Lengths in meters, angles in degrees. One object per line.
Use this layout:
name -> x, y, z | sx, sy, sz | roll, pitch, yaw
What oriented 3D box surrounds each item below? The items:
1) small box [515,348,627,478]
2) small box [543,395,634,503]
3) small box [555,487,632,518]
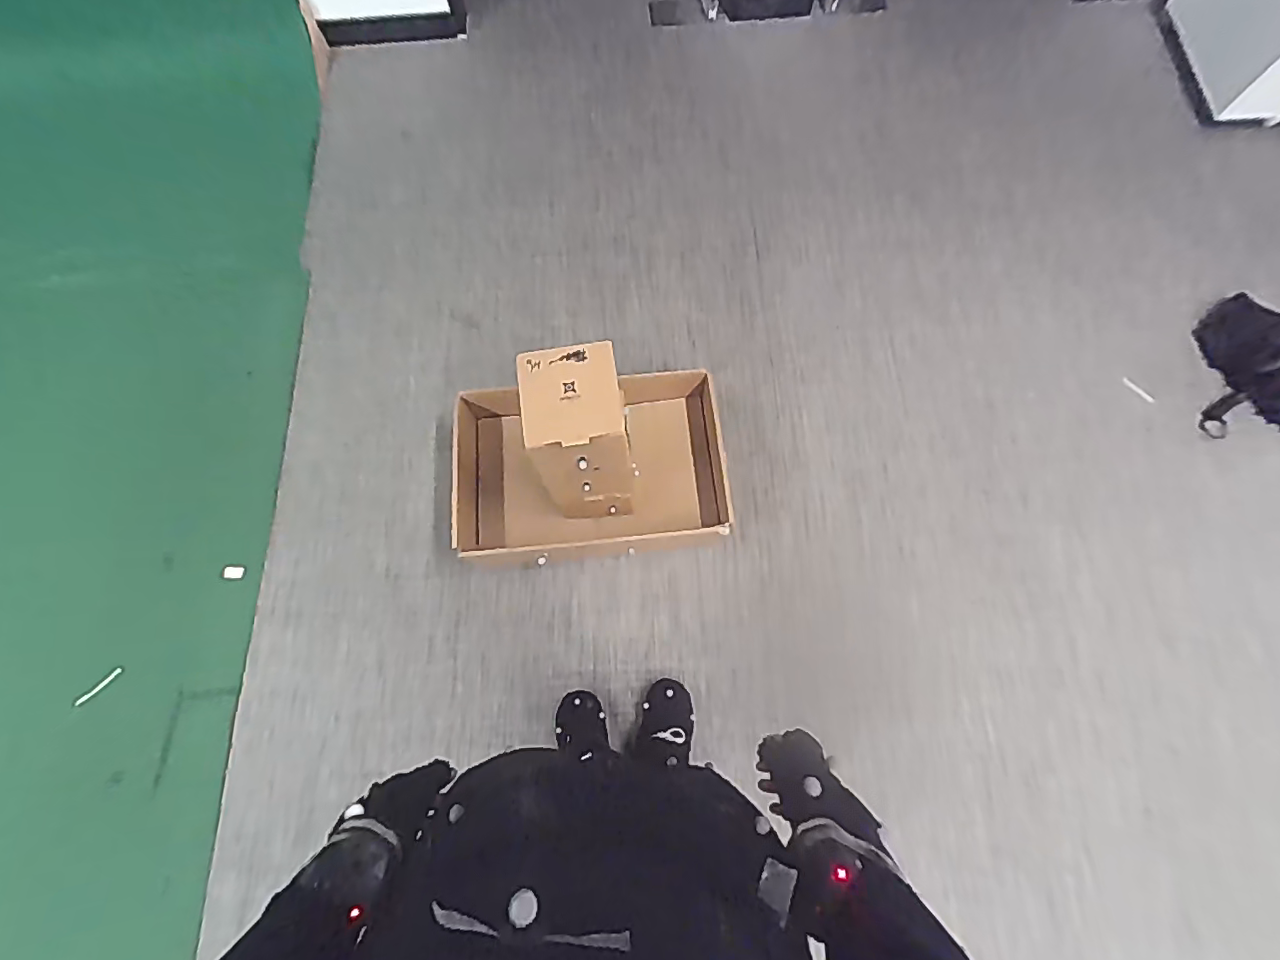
small box -> -0.118, -0.111, 0.972 | 0.168, 0.176, 0.179 | -8, 73, -1
small box -> -0.110, -0.059, 1.127 | 0.179, 0.176, 0.168 | -9, 73, -3
small box -> -0.109, -0.011, 1.284 | 0.168, 0.176, 0.179 | -4, 71, 0
